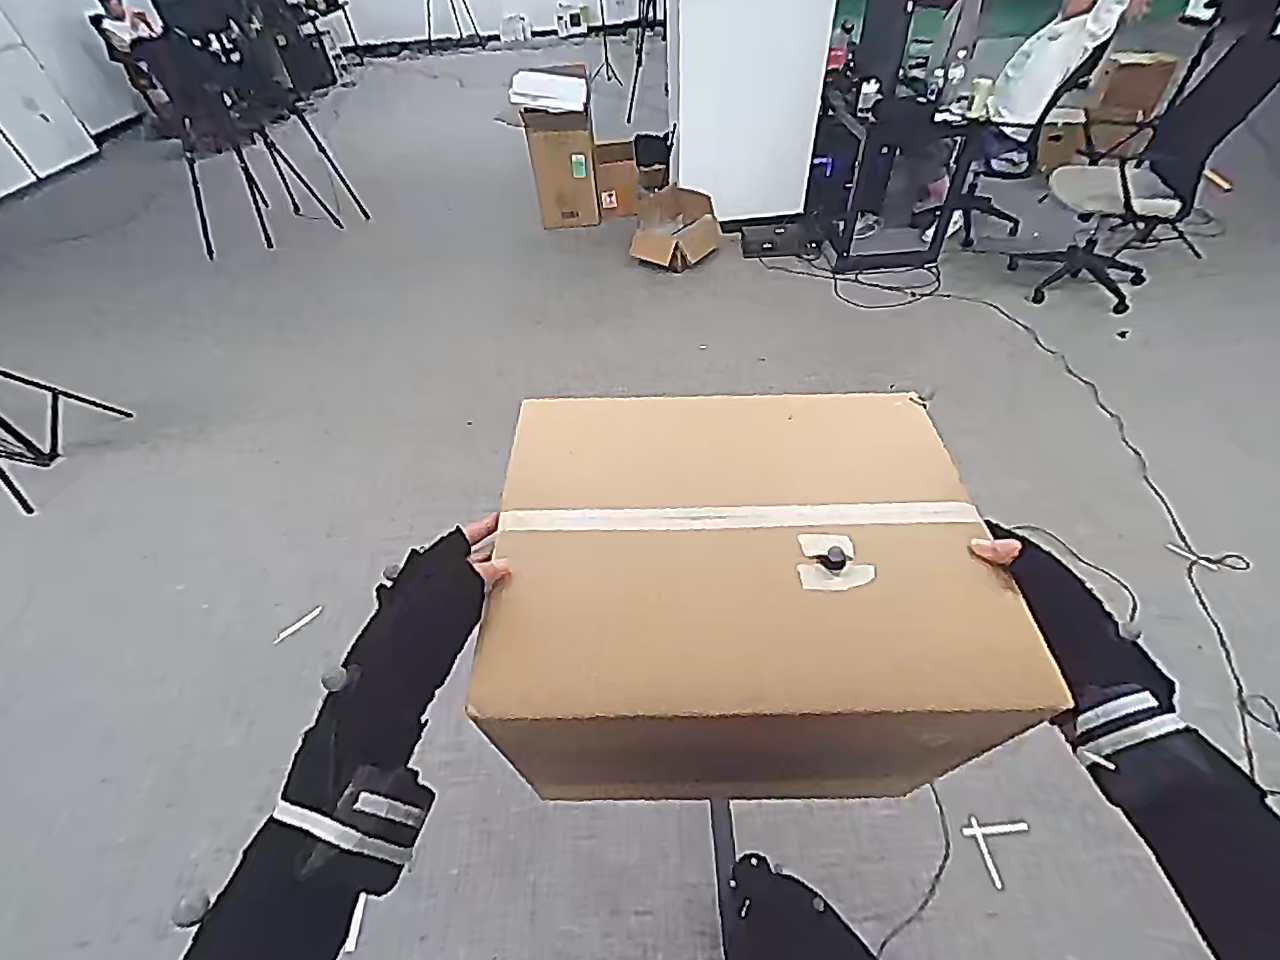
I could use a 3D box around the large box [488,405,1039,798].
[{"bbox_3d":[0.085,0.138,0.590,0.408,0.320,0.320,-1,51,0],"label":"large box"}]
